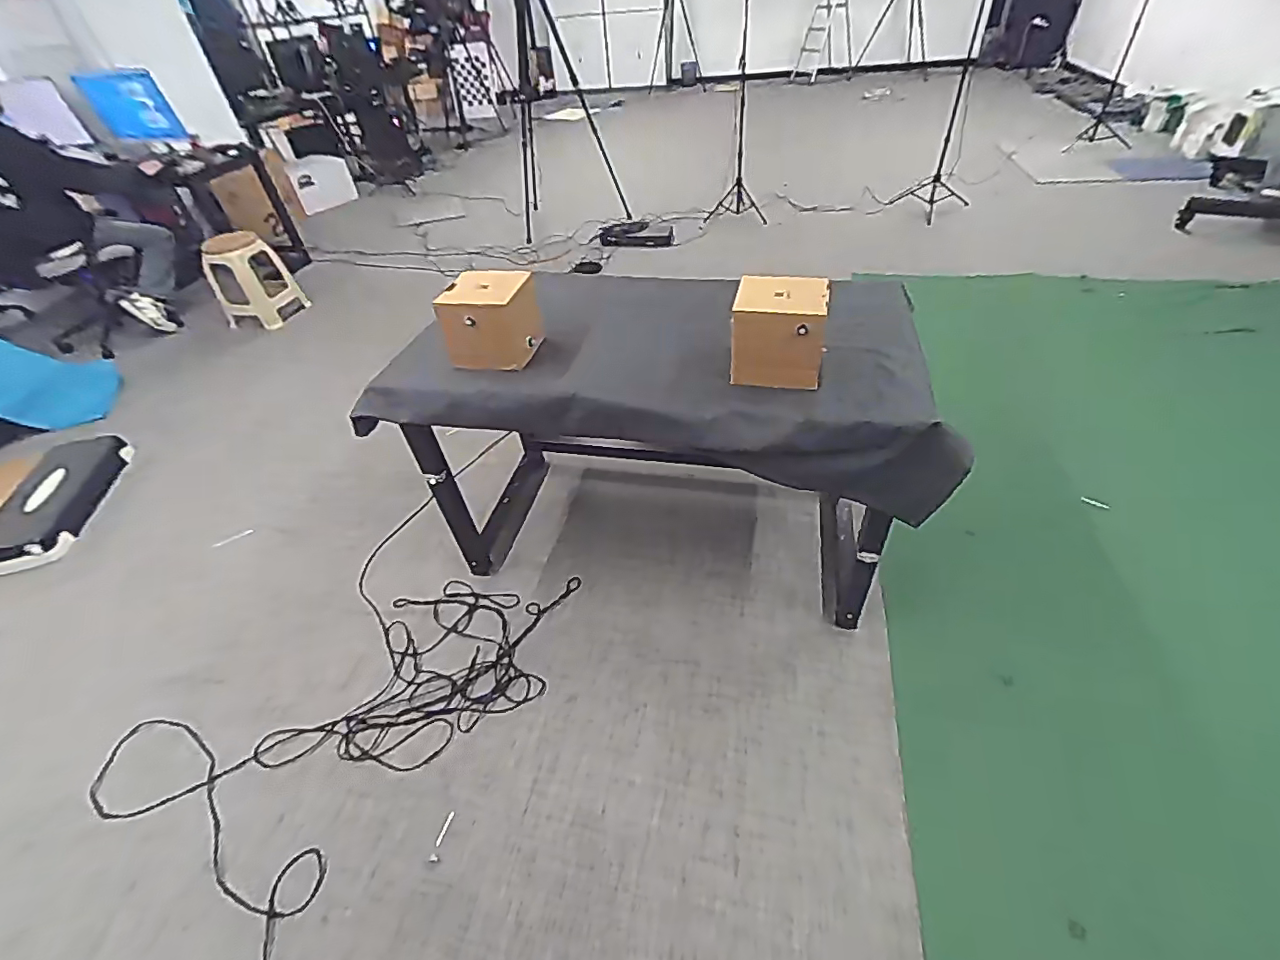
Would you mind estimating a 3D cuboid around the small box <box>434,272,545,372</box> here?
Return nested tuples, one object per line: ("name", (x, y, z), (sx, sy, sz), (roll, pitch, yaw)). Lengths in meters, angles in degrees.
("small box", (-0.338, -0.366, 1.254), (0.179, 0.176, 0.168), (5, 45, 11))

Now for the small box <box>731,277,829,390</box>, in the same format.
("small box", (0.285, -0.300, 1.110), (0.179, 0.176, 0.168), (7, 44, 14))
